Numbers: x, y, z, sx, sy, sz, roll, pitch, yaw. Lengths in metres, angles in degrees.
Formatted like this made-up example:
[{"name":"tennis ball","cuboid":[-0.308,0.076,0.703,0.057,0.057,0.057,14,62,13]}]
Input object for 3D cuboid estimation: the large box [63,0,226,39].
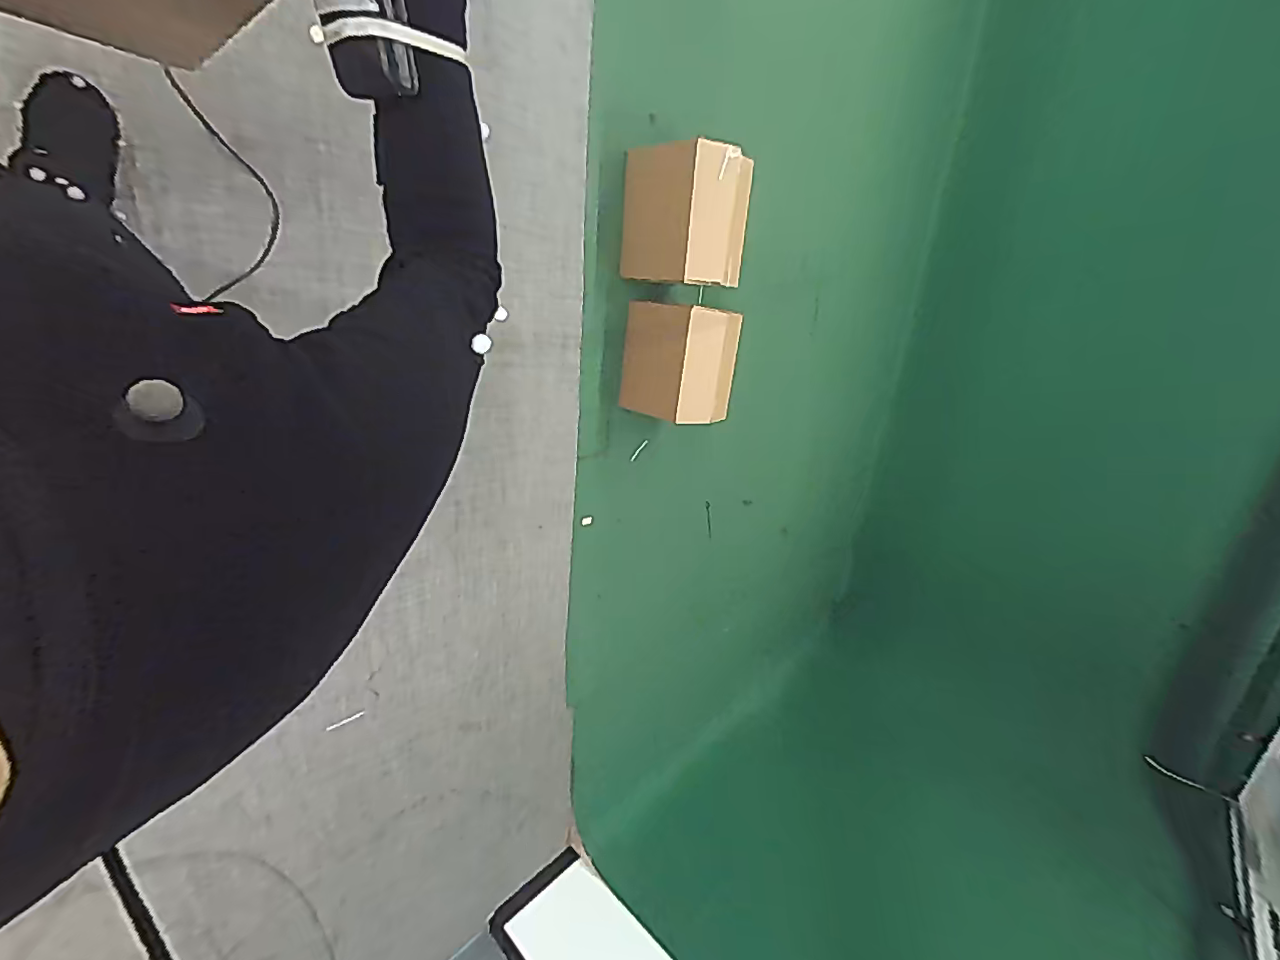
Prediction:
[{"name":"large box","cuboid":[-0.417,-0.463,0.210,0.408,0.320,0.320,-12,118,-47]}]
